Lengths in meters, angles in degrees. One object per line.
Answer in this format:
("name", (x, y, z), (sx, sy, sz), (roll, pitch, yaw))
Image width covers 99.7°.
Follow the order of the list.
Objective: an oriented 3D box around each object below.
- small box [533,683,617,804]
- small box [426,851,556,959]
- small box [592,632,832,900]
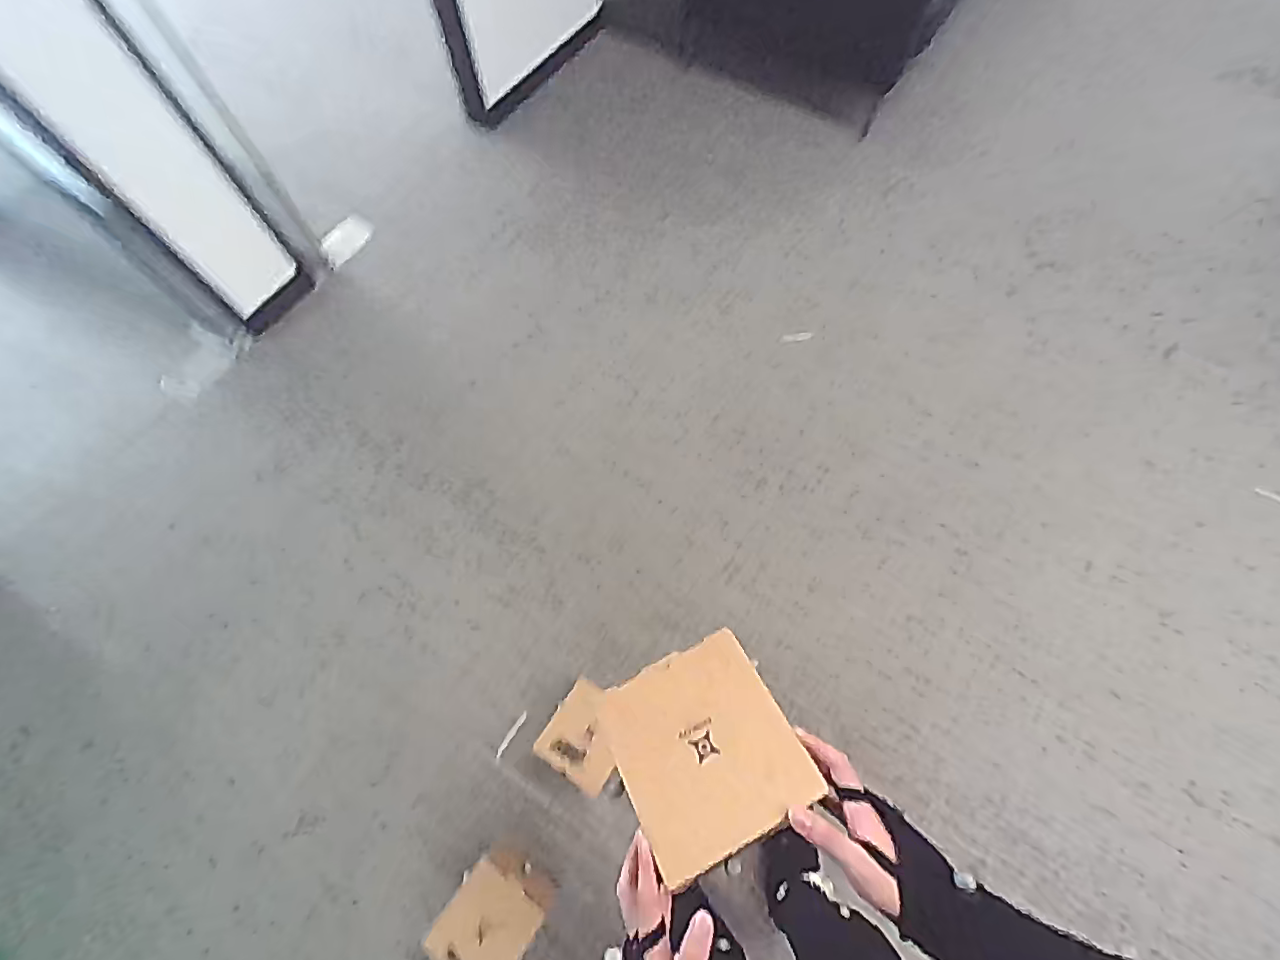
("small box", (-0.109, 0.583, 1.209), (0.168, 0.176, 0.179), (32, 69, 14))
("small box", (-0.284, 0.886, 1.078), (0.168, 0.176, 0.179), (33, 70, 15))
("small box", (0.069, 0.296, 0.564), (0.168, 0.176, 0.179), (-24, 52, -11))
